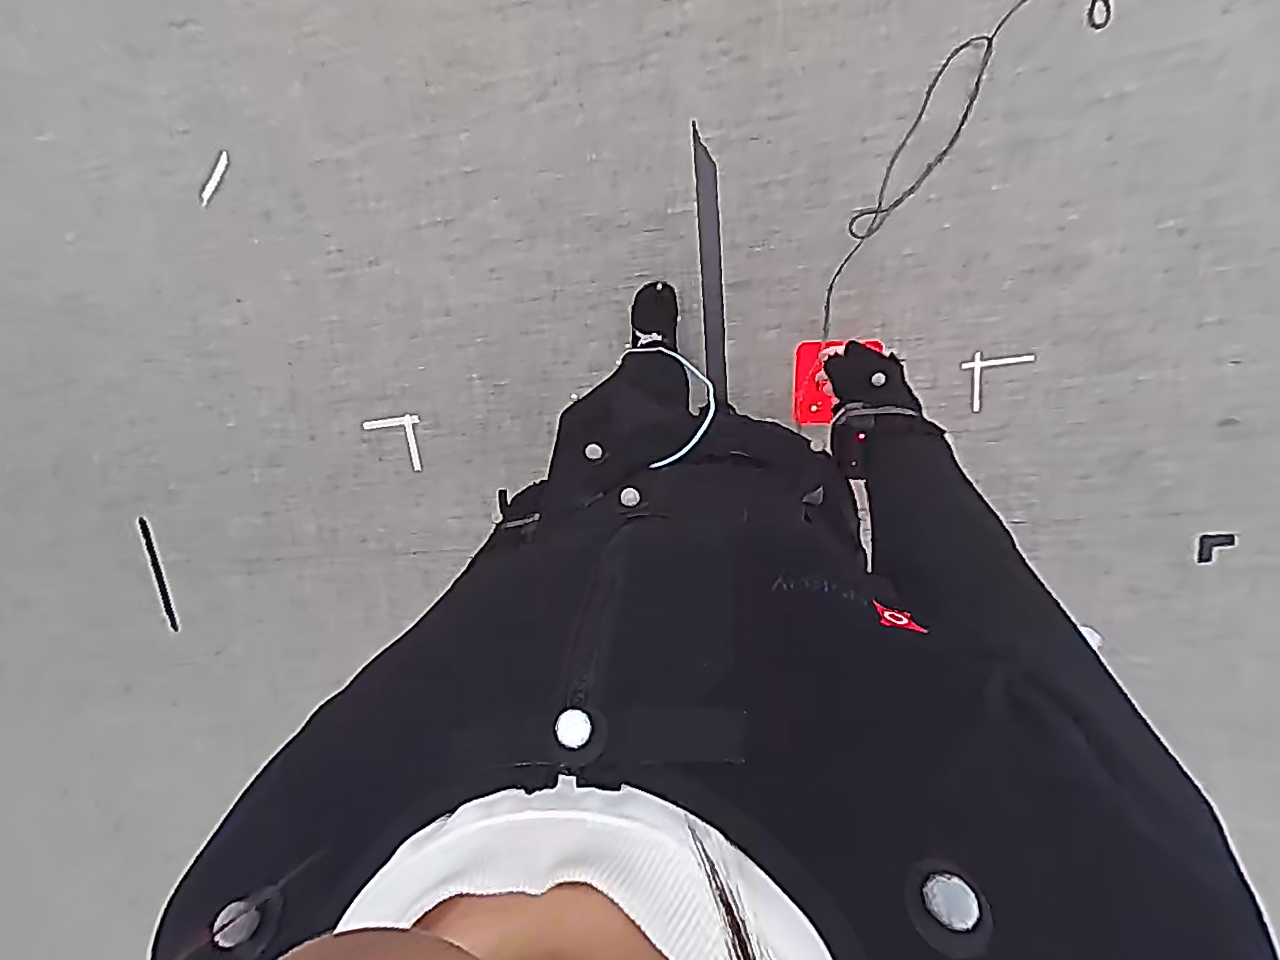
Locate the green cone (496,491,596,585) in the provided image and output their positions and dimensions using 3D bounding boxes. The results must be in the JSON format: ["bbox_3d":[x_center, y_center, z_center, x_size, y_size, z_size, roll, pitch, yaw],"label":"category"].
[{"bbox_3d":[-0.254,0.165,1.328,0.202,0.368,0.200,-2,102,11],"label":"green cone"}]

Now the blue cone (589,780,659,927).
[{"bbox_3d":[-0.066,1.047,1.506,0.192,0.380,0.193,1,102,10],"label":"blue cone"}]

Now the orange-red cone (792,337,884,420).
[{"bbox_3d":[0.447,-0.201,1.134,0.199,0.360,0.198,1,104,8],"label":"orange-red cone"}]
